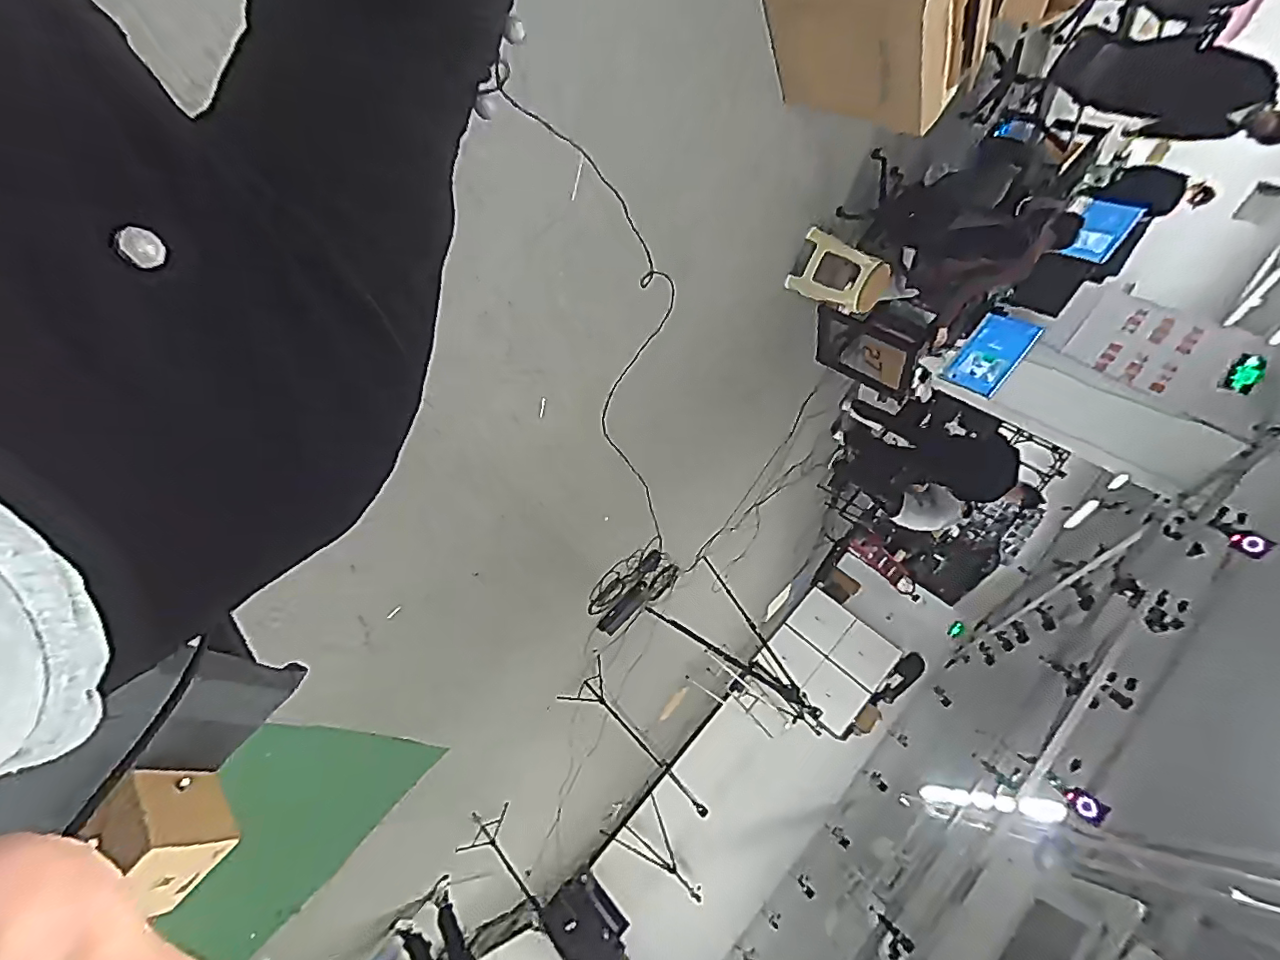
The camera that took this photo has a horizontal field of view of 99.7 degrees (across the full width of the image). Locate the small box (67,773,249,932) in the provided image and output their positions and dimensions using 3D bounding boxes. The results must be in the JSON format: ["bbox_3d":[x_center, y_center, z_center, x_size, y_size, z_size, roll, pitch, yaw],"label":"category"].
[{"bbox_3d":[-0.886,0.669,0.995,0.168,0.176,0.179,-46,150,-12],"label":"small box"}]
